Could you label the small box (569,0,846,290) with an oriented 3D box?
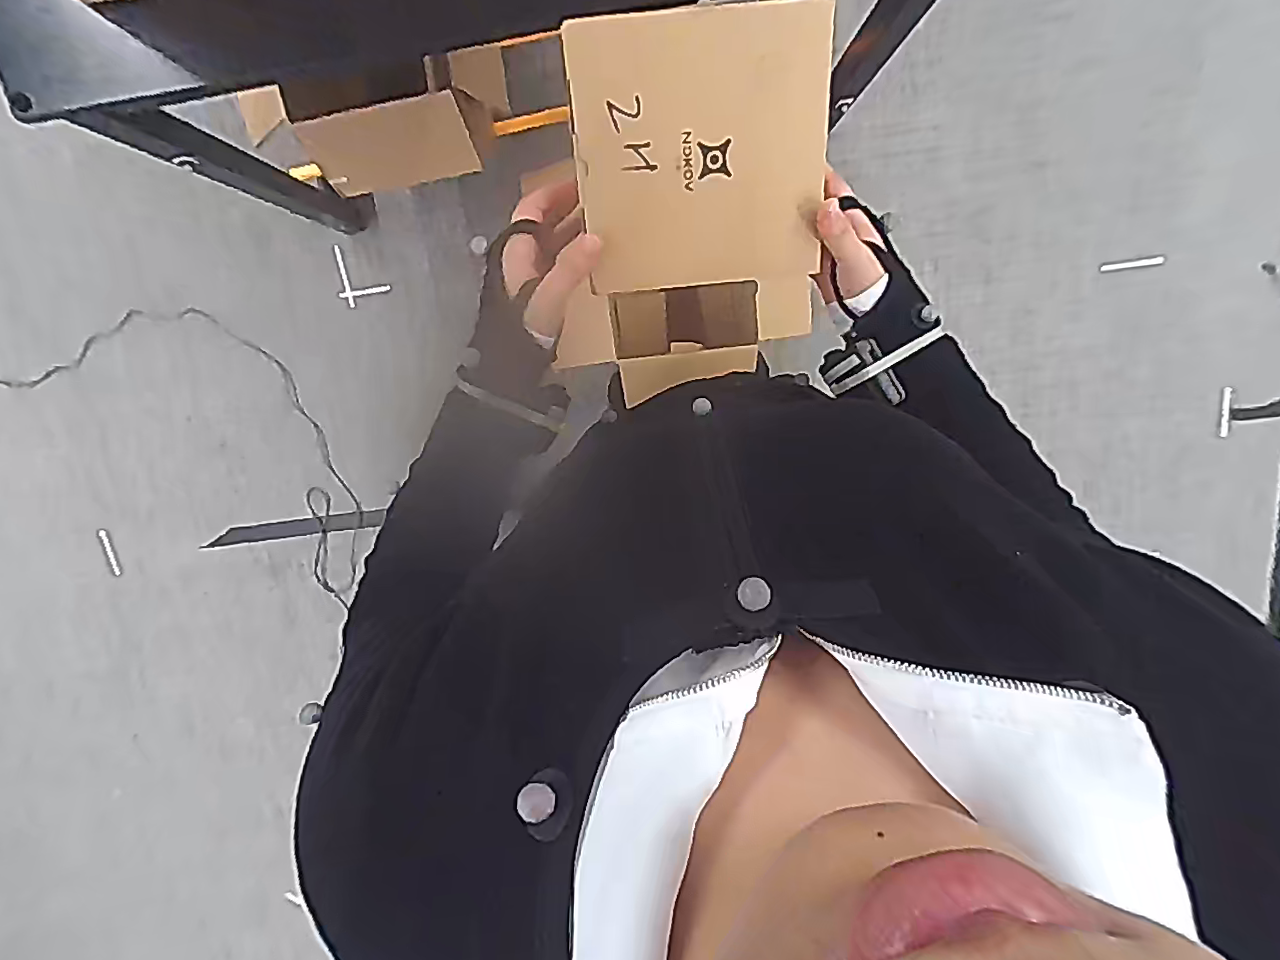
[{"bbox_3d":[0.043,-0.255,0.437,0.179,0.176,0.168,-5,115,0],"label":"small box"}]
